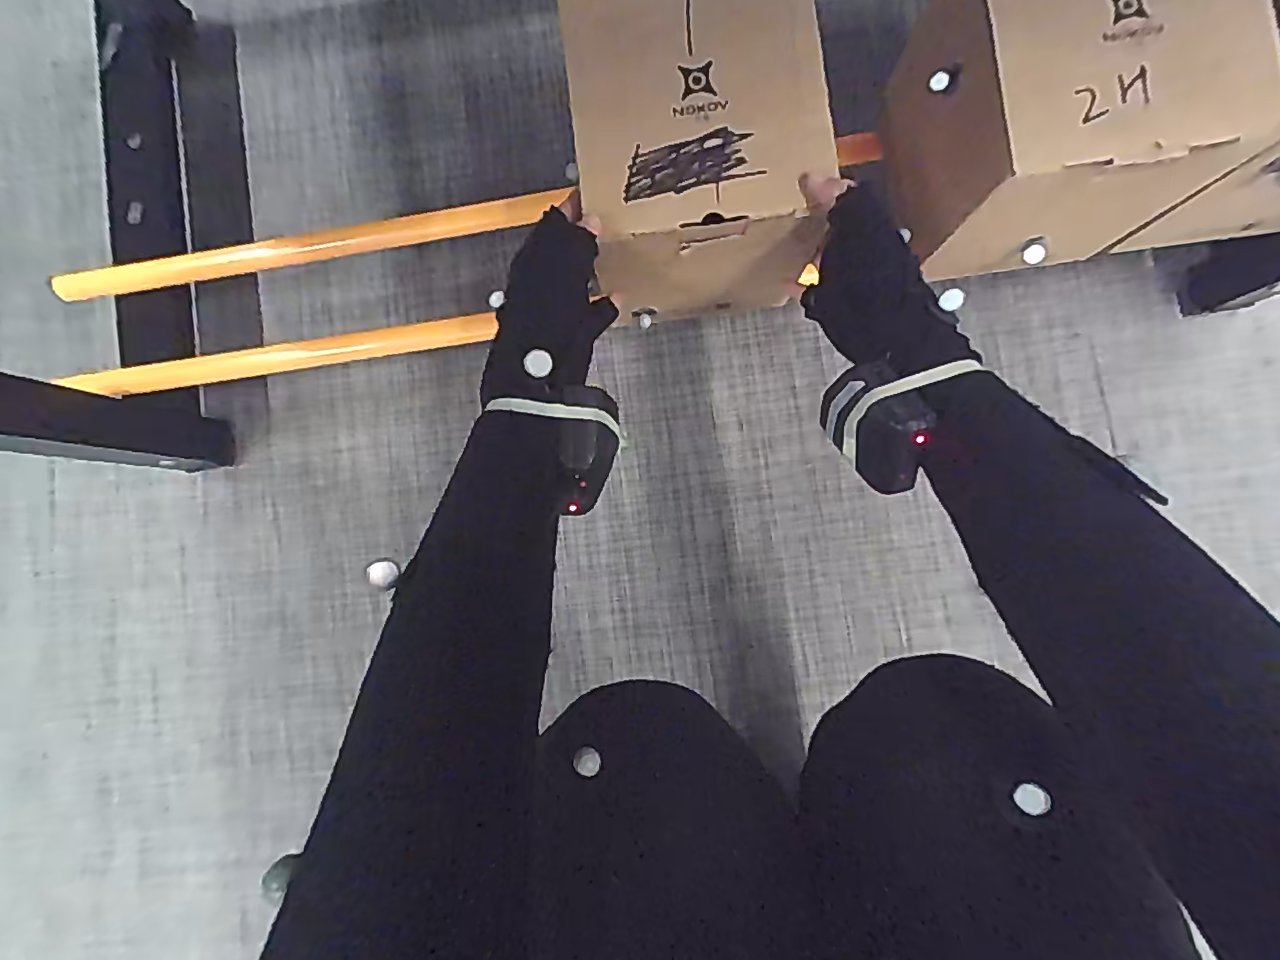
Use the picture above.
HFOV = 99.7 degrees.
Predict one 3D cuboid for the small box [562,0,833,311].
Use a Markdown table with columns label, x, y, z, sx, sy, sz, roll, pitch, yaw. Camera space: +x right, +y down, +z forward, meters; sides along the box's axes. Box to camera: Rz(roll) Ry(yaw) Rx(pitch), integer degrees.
| label | x | y | z | sx | sy | sz | roll | pitch | yaw |
| --- | --- | --- | --- | --- | --- | --- | --- | --- | --- |
| small box | 0.040 | -0.249 | 0.434 | 0.168 | 0.176 | 0.179 | -6 | 85 | 2 |
